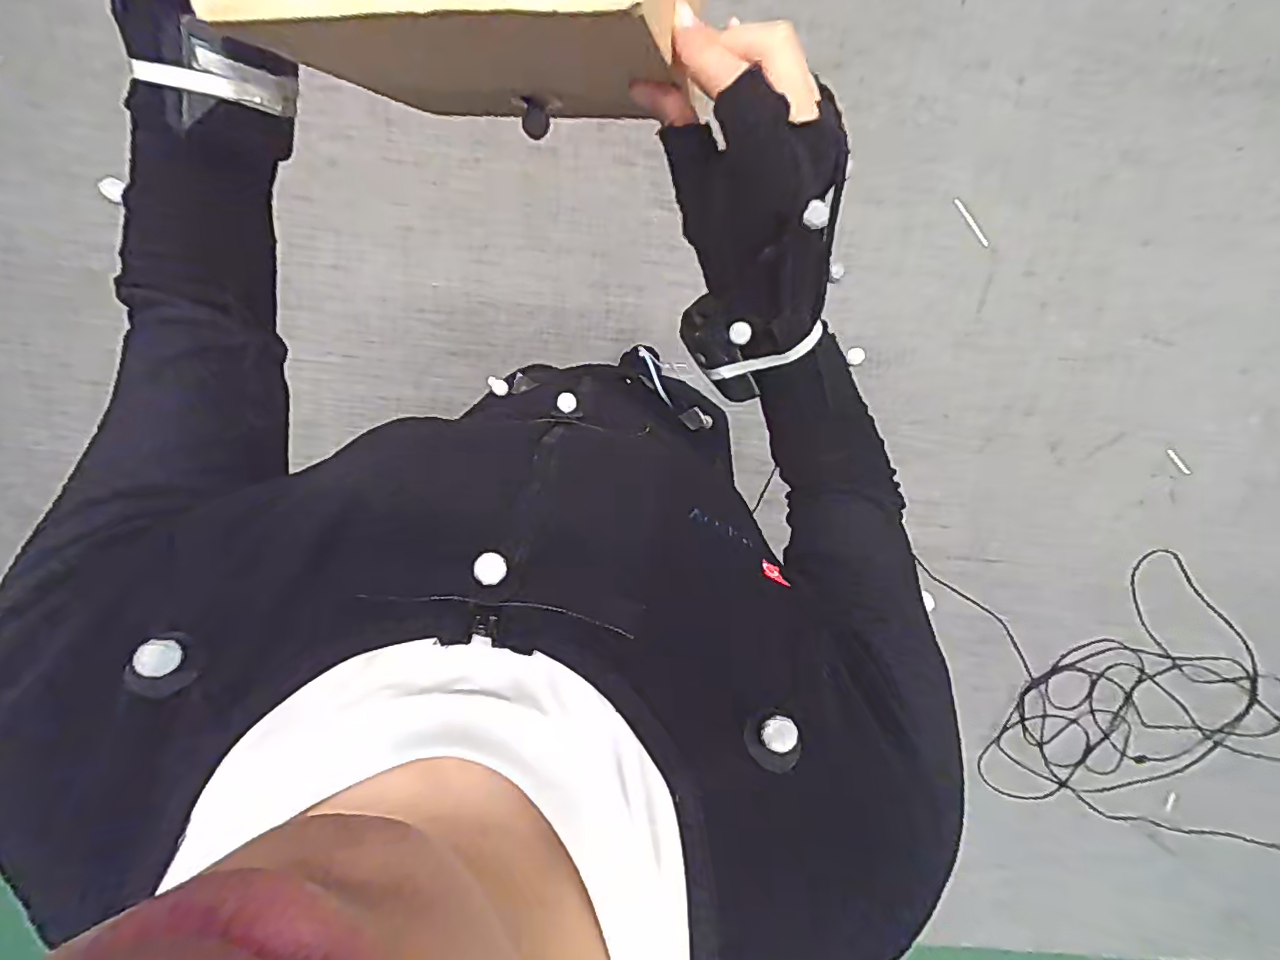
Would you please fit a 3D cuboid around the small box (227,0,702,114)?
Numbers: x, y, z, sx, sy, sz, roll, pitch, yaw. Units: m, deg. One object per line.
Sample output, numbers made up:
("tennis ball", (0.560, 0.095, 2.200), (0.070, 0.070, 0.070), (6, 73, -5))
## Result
("small box", (-0.059, -0.279, 0.240), (0.179, 0.176, 0.168), (7, 114, 9))
